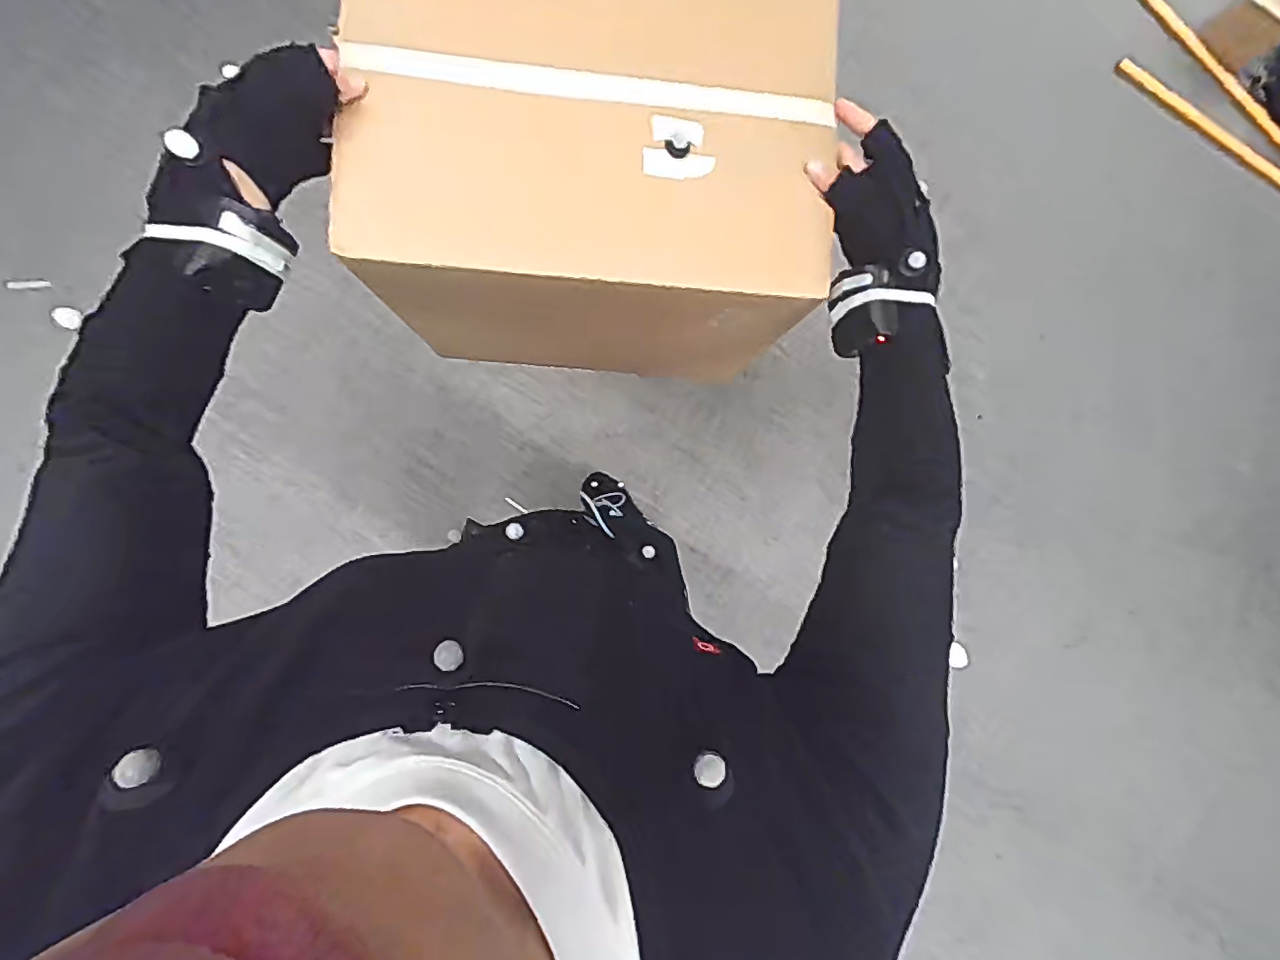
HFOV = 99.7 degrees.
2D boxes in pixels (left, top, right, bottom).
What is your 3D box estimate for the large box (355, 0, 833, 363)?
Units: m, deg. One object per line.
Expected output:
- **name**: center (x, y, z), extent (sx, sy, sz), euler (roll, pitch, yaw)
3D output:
- **large box**: center (-0.047, -0.325, 0.603), extent (0.408, 0.320, 0.320), euler (2, 89, -7)
